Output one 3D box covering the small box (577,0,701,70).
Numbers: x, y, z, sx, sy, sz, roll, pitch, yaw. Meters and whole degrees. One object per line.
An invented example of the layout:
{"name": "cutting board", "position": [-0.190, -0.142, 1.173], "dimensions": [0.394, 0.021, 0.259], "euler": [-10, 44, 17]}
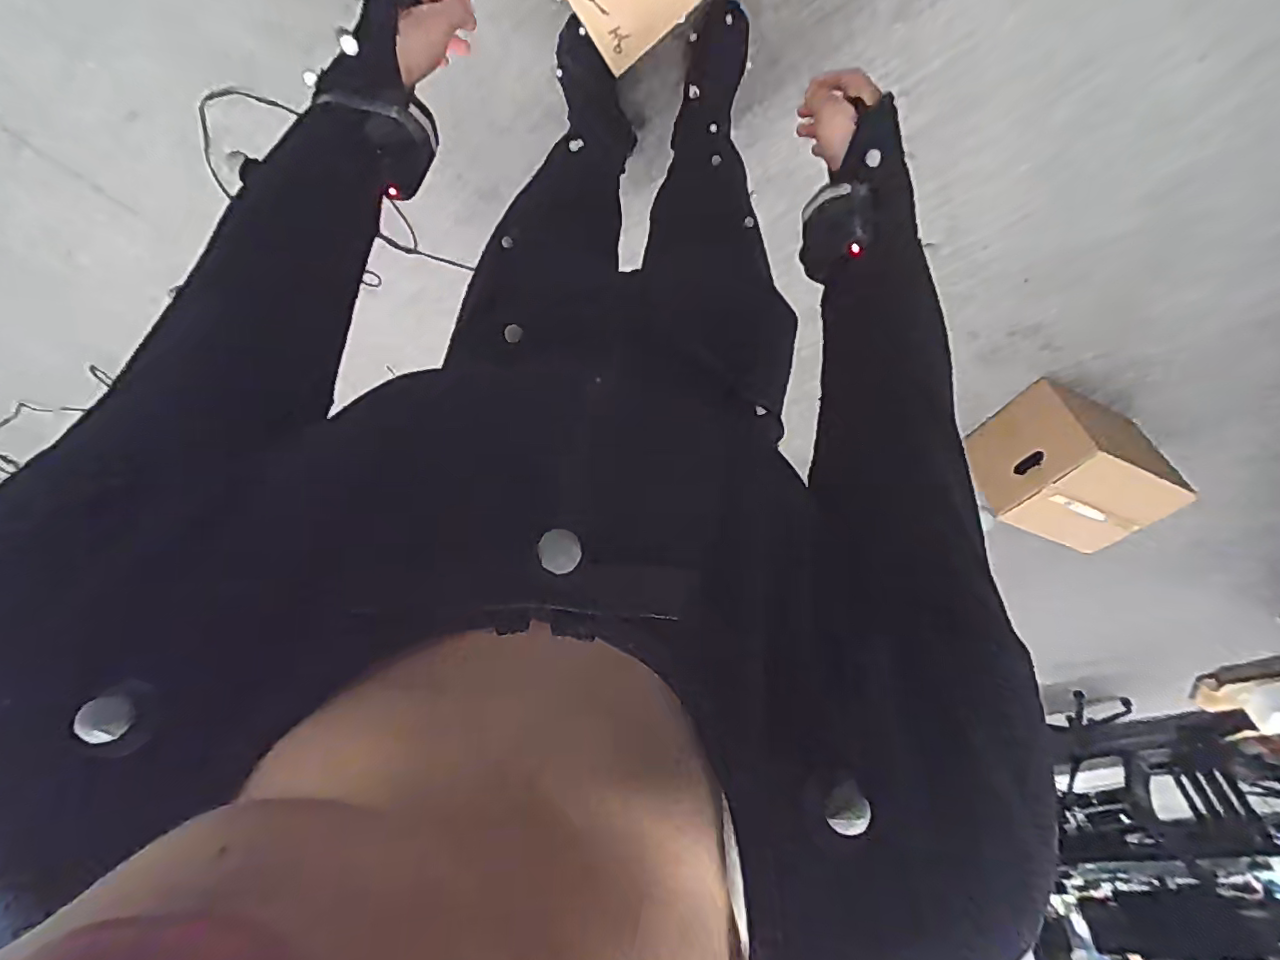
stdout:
{"name": "small box", "position": [-0.001, -0.634, 0.625], "dimensions": [0.179, 0.176, 0.168], "euler": [-25, 131, 26]}
